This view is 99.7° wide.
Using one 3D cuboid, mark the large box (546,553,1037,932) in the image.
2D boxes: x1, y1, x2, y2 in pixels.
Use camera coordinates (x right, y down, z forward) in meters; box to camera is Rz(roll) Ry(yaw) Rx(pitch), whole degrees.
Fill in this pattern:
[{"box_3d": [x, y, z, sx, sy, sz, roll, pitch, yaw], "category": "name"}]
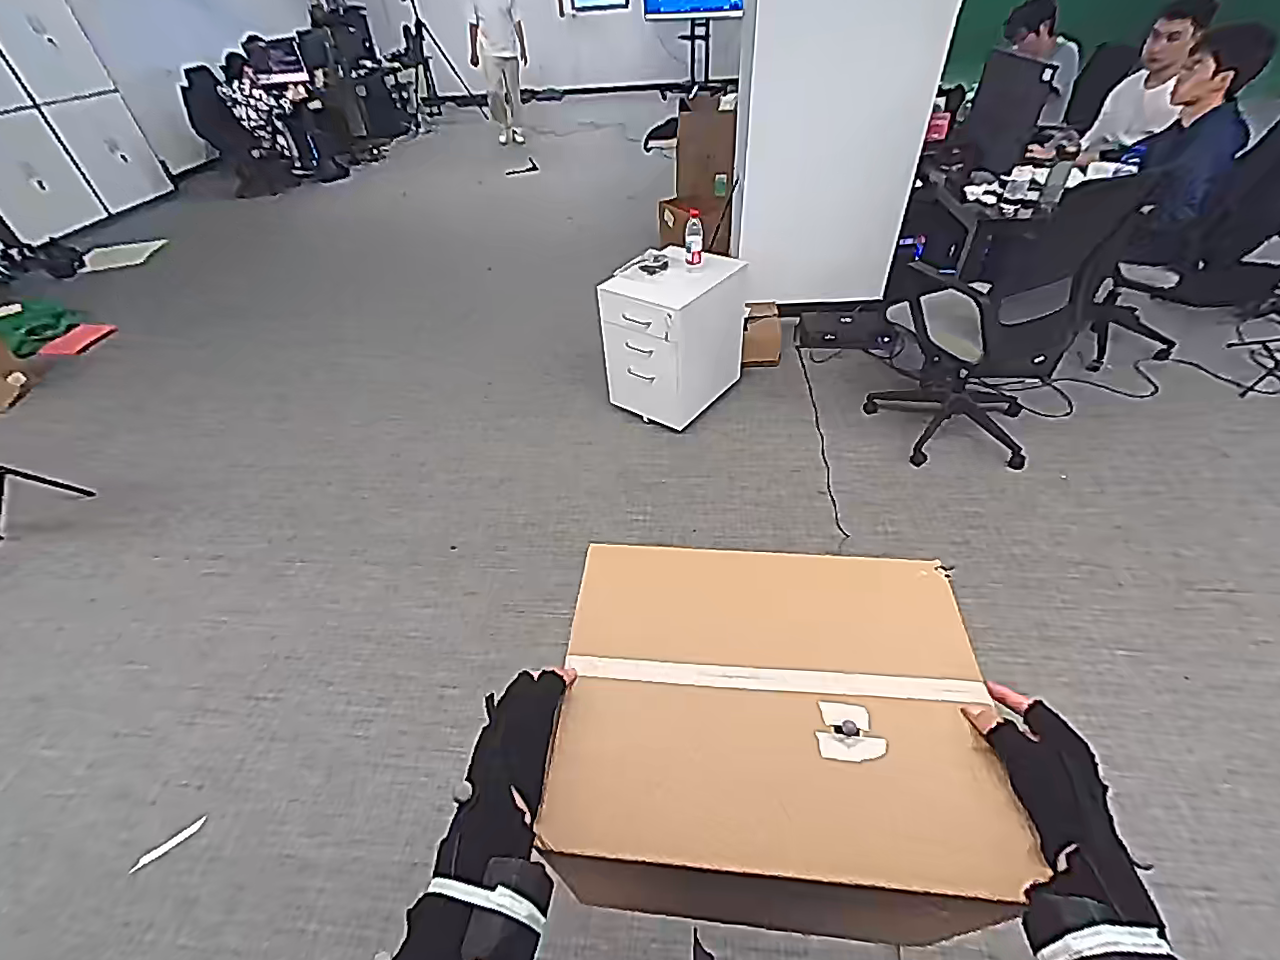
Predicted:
[{"box_3d": [0.134, 0.308, 0.647, 0.408, 0.320, 0.320, 2, 47, 6], "category": "large box"}]
